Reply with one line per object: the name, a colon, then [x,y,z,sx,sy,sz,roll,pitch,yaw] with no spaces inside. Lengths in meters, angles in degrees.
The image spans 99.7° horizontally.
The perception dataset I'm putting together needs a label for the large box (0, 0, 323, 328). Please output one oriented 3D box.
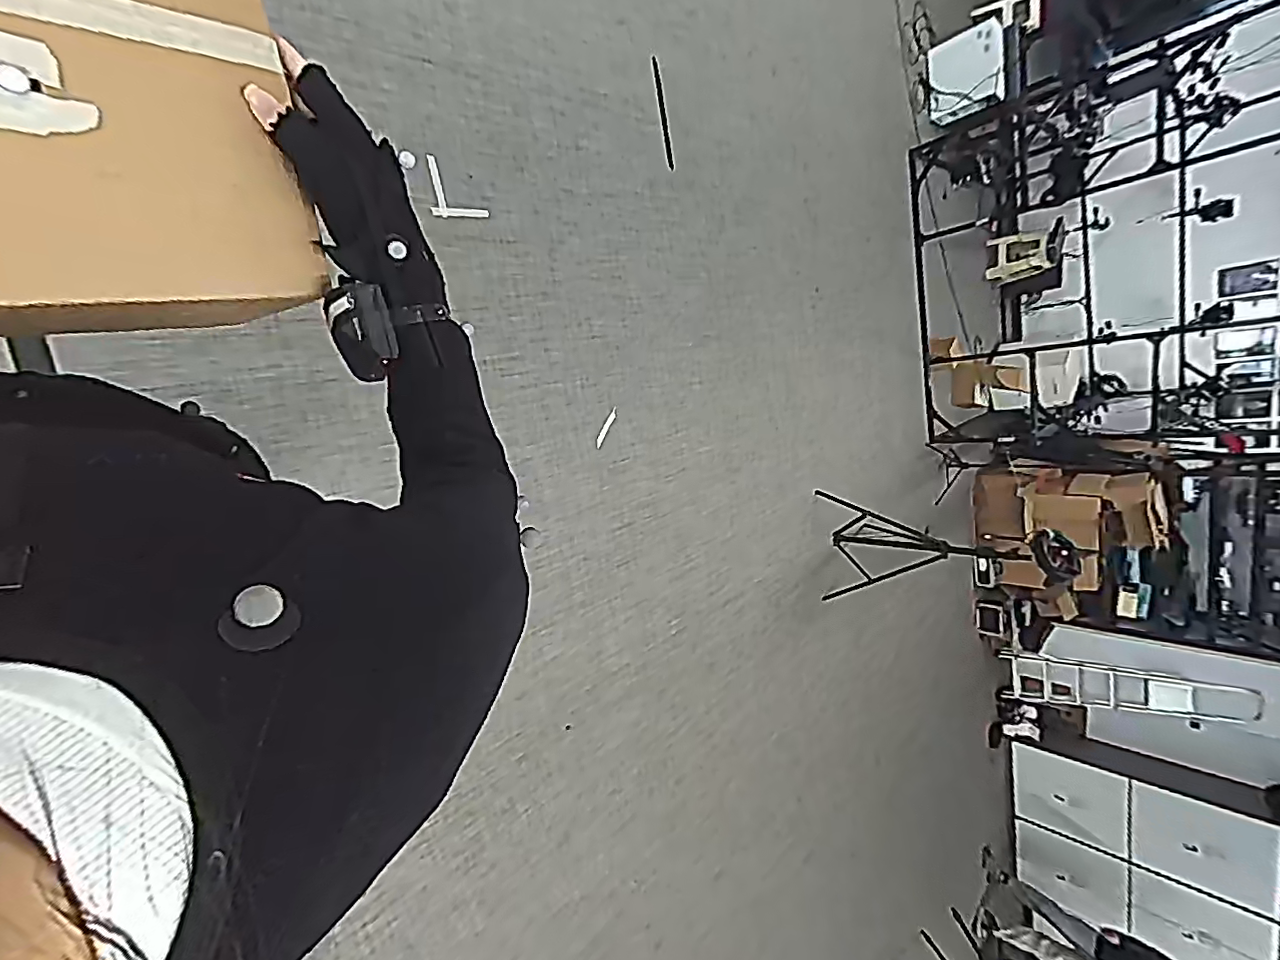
large box: [-0.506,-0.263,0.347,0.408,0.320,0.320,-22,114,-44]
